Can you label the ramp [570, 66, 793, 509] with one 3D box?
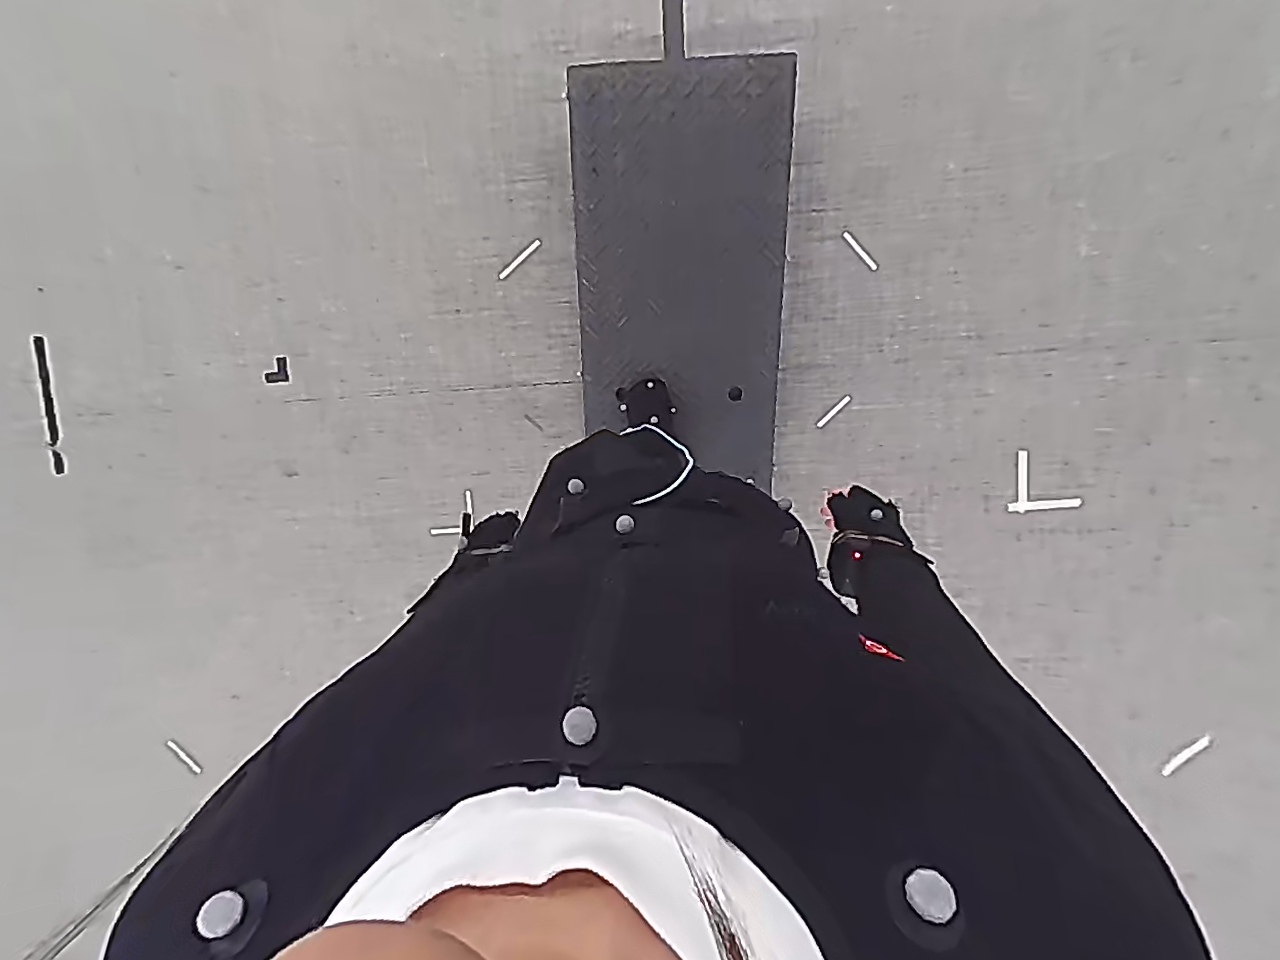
[{"bbox_3d":[0.112,-0.401,1.321,0.509,0.206,0.991,-3,97,5],"label":"ramp"}]
